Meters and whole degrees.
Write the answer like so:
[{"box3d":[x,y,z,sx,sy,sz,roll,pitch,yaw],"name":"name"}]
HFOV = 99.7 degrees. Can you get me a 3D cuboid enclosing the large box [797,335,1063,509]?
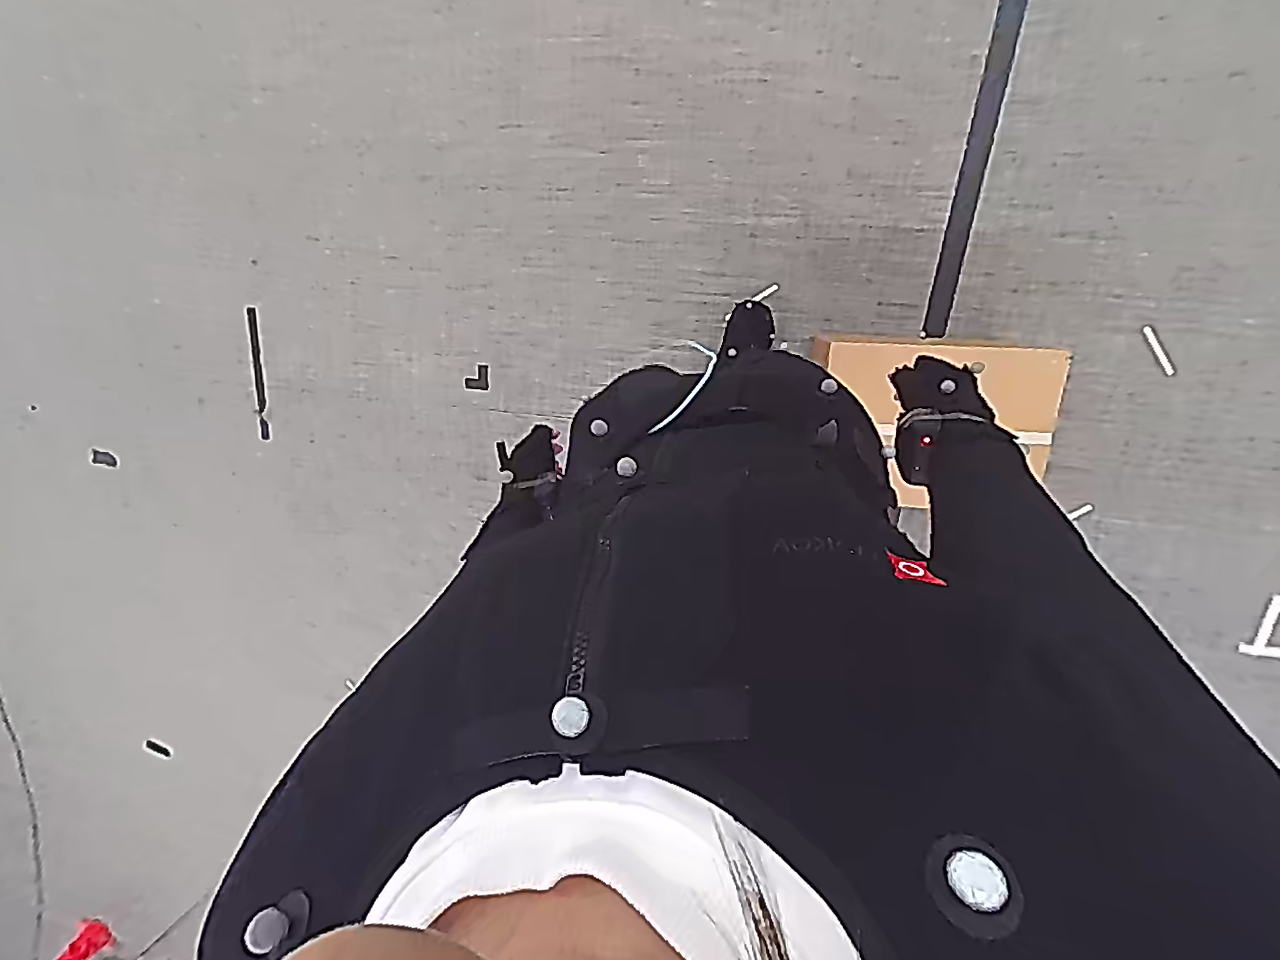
[{"box3d":[0.563,-0.145,1.152,0.408,0.320,0.320,4,109,10],"name":"large box"}]
